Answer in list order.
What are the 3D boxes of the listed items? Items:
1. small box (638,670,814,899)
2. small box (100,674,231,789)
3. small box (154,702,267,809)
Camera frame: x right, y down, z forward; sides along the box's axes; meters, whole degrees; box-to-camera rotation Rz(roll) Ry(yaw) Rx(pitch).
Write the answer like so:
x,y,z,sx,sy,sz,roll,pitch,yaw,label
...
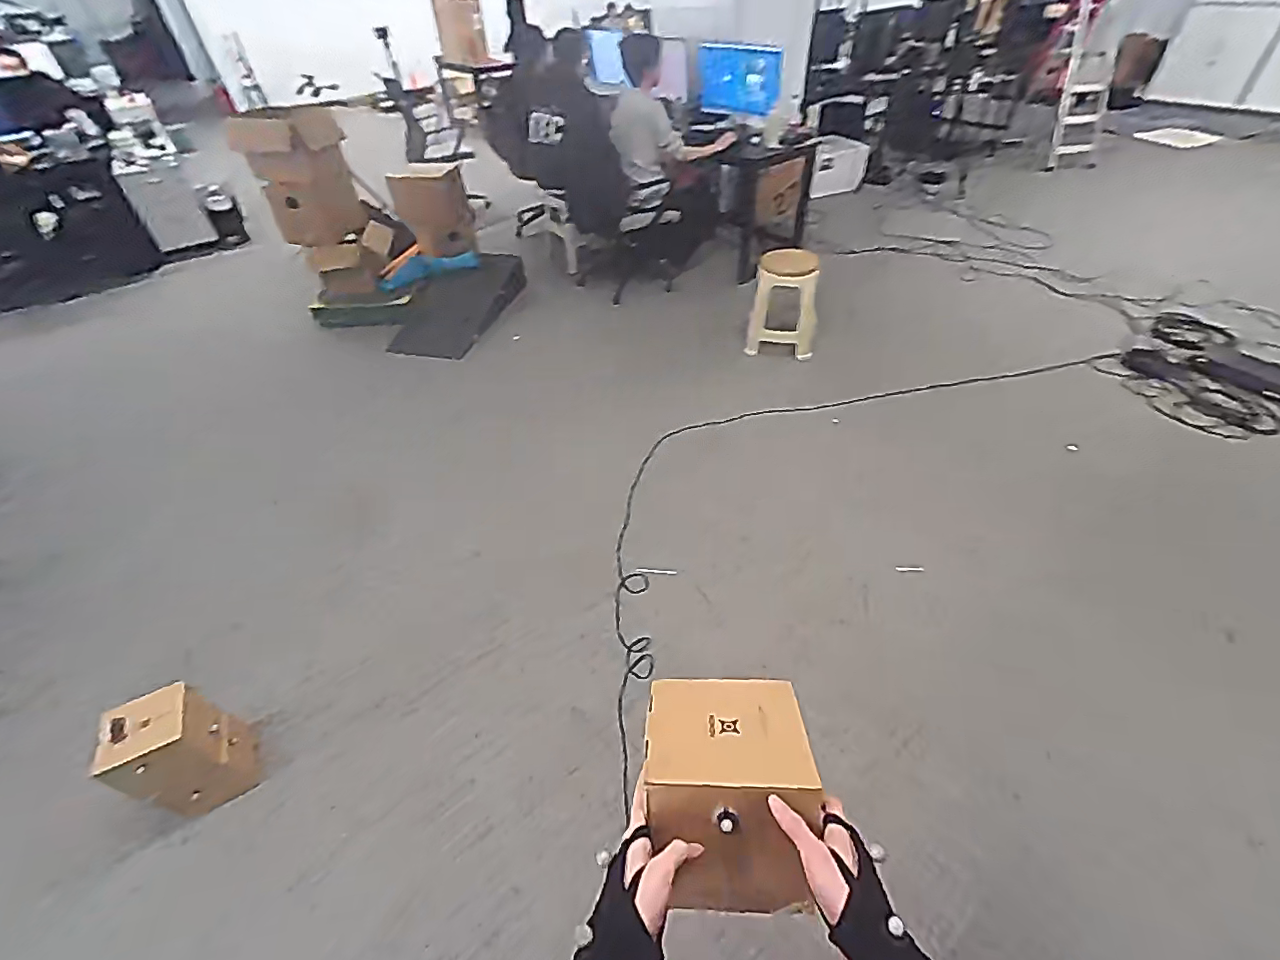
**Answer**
x,y,z,sx,sy,sz,roll,pitch,yaw,label
0.093,0.343,0.627,0.179,0.176,0.168,0,17,4,small box
-1.156,0.622,1.332,0.179,0.176,0.168,-22,46,-19,small box
-1.139,0.740,1.446,0.179,0.176,0.168,-23,46,-19,small box
